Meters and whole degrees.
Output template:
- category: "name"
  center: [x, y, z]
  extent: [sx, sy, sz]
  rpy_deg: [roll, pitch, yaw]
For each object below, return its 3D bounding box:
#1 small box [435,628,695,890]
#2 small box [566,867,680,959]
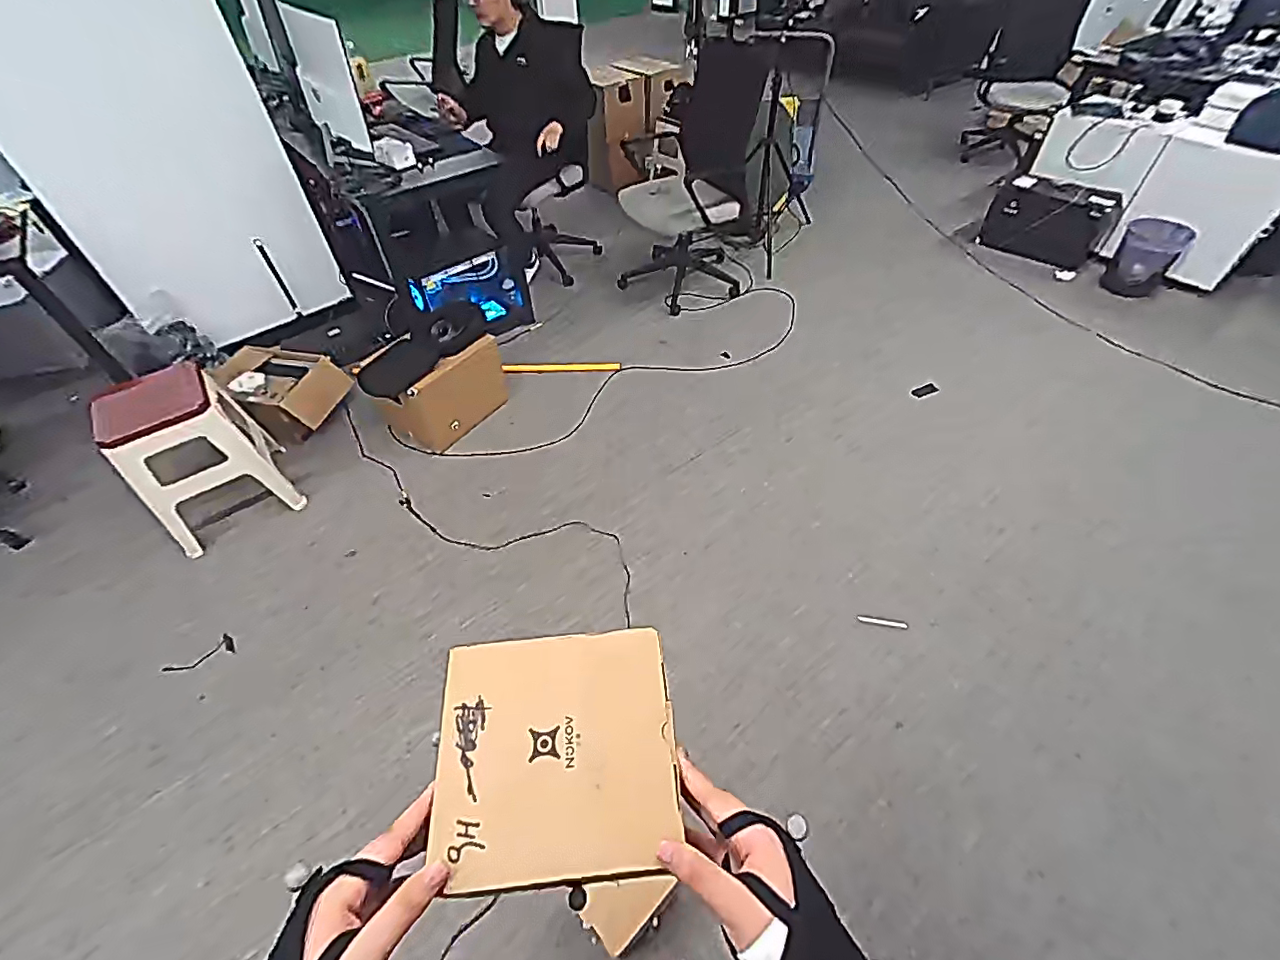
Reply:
- category: "small box"
  center: [-0.057, 0.244, 0.470]
  extent: [0.179, 0.176, 0.168]
  rpy_deg: [-4, 51, -4]
- category: "small box"
  center: [-0.035, 0.853, 1.138]
  extent: [0.179, 0.176, 0.168]
  rpy_deg: [-35, 56, -24]
